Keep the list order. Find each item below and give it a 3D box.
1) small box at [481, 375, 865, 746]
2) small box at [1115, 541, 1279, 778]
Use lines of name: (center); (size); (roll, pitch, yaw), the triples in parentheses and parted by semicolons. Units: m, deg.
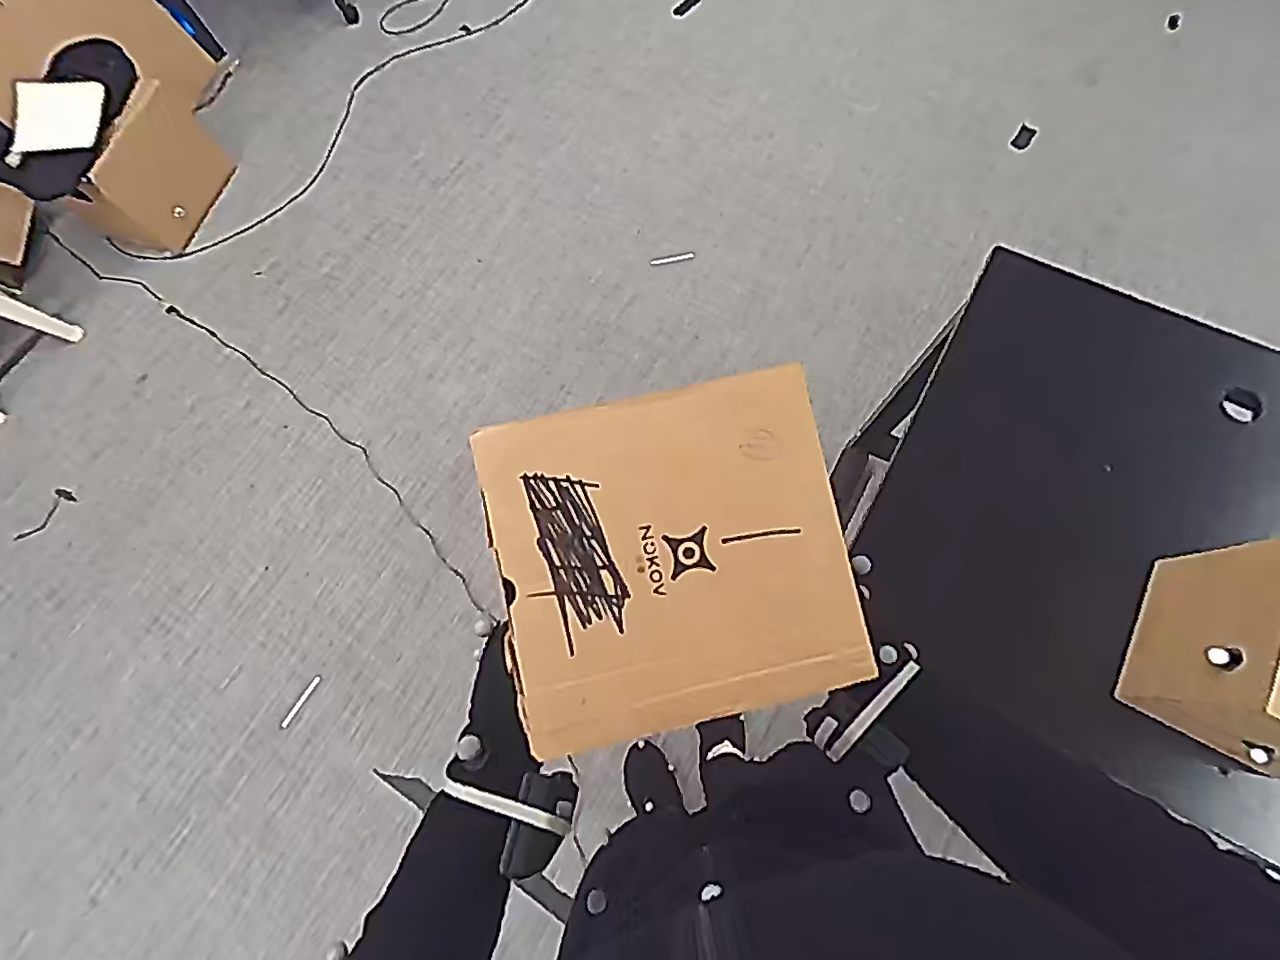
small box: (0.015, 0.046, 0.361); (0.179, 0.176, 0.168); (-12, 86, -3)
small box: (0.631, 0.186, 0.535); (0.168, 0.176, 0.179); (28, 76, 12)
